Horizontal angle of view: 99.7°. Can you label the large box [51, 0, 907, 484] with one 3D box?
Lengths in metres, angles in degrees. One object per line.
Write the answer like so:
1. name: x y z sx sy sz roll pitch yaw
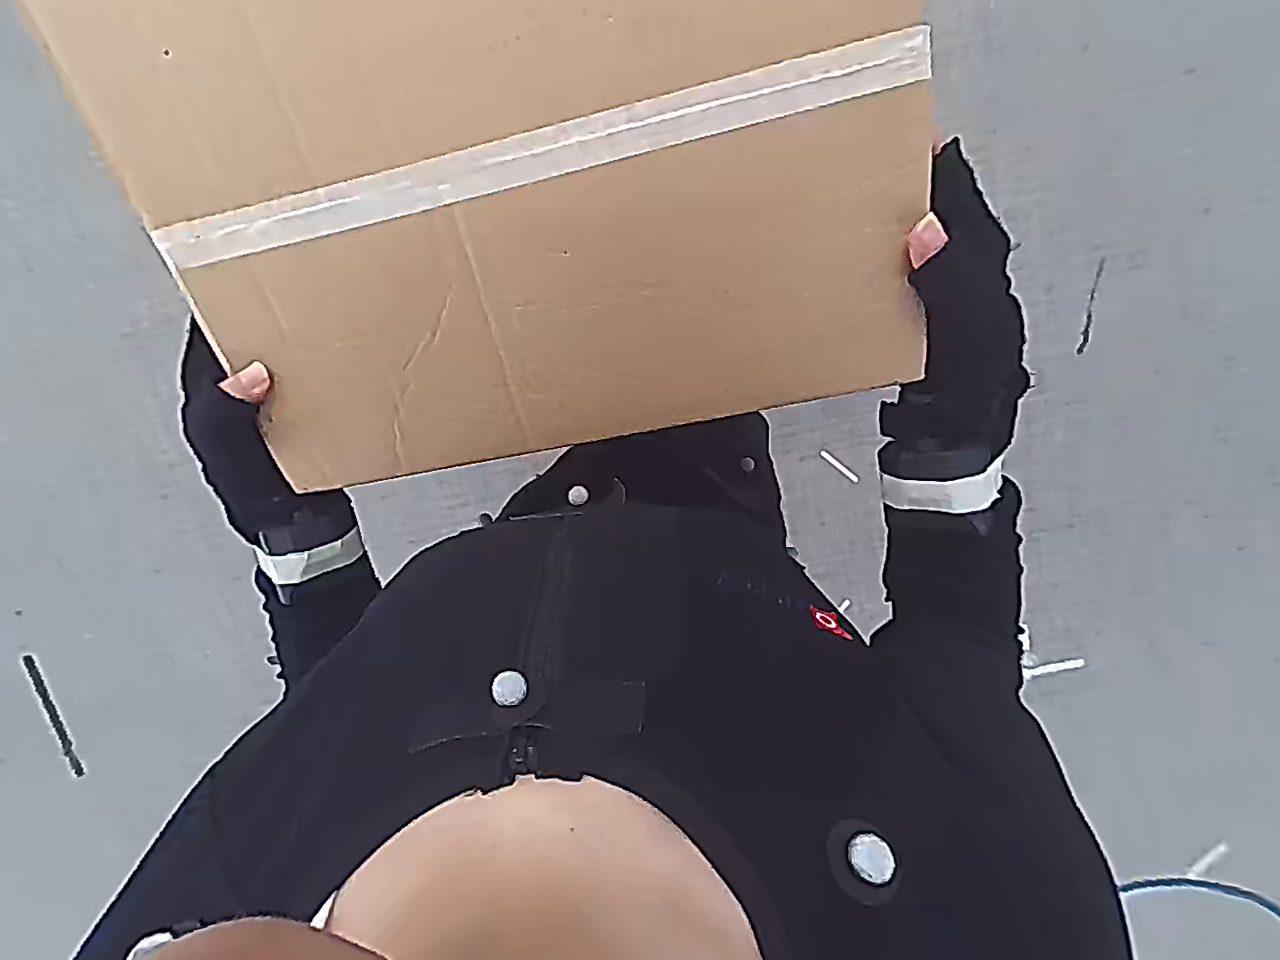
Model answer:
1. large box: -0.059 -0.233 0.417 0.408 0.320 0.320 -10 115 7
